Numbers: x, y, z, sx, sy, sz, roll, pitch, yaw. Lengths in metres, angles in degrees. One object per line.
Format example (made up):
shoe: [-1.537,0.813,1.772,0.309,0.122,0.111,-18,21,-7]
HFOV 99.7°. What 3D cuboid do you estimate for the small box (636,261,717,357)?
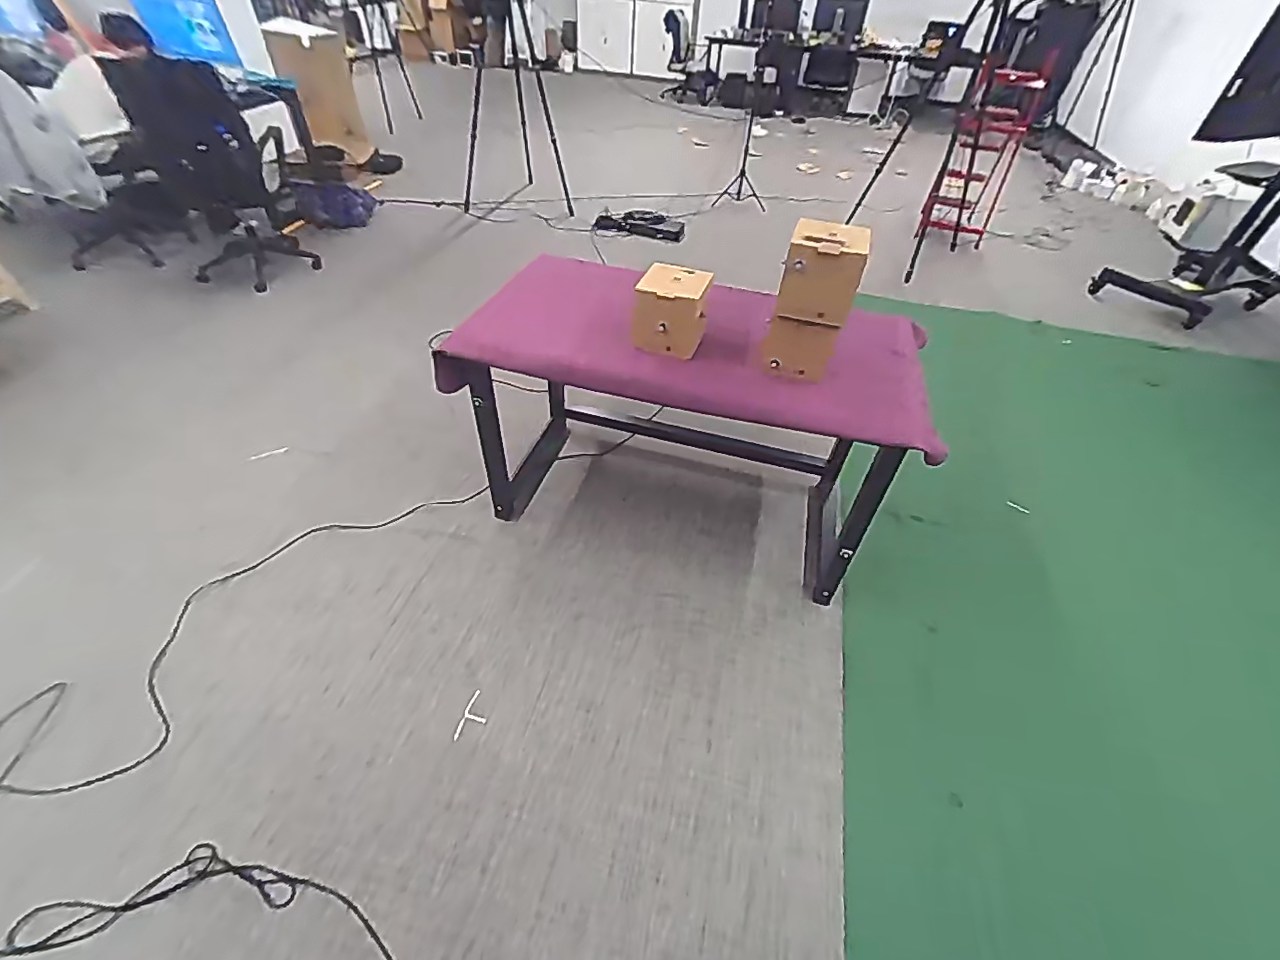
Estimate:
small box: [0.093,-0.449,1.424,0.168,0.176,0.179,16,46,11]

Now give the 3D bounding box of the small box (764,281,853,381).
small box: [0.424,-0.376,1.373,0.168,0.176,0.179,18,46,11]
